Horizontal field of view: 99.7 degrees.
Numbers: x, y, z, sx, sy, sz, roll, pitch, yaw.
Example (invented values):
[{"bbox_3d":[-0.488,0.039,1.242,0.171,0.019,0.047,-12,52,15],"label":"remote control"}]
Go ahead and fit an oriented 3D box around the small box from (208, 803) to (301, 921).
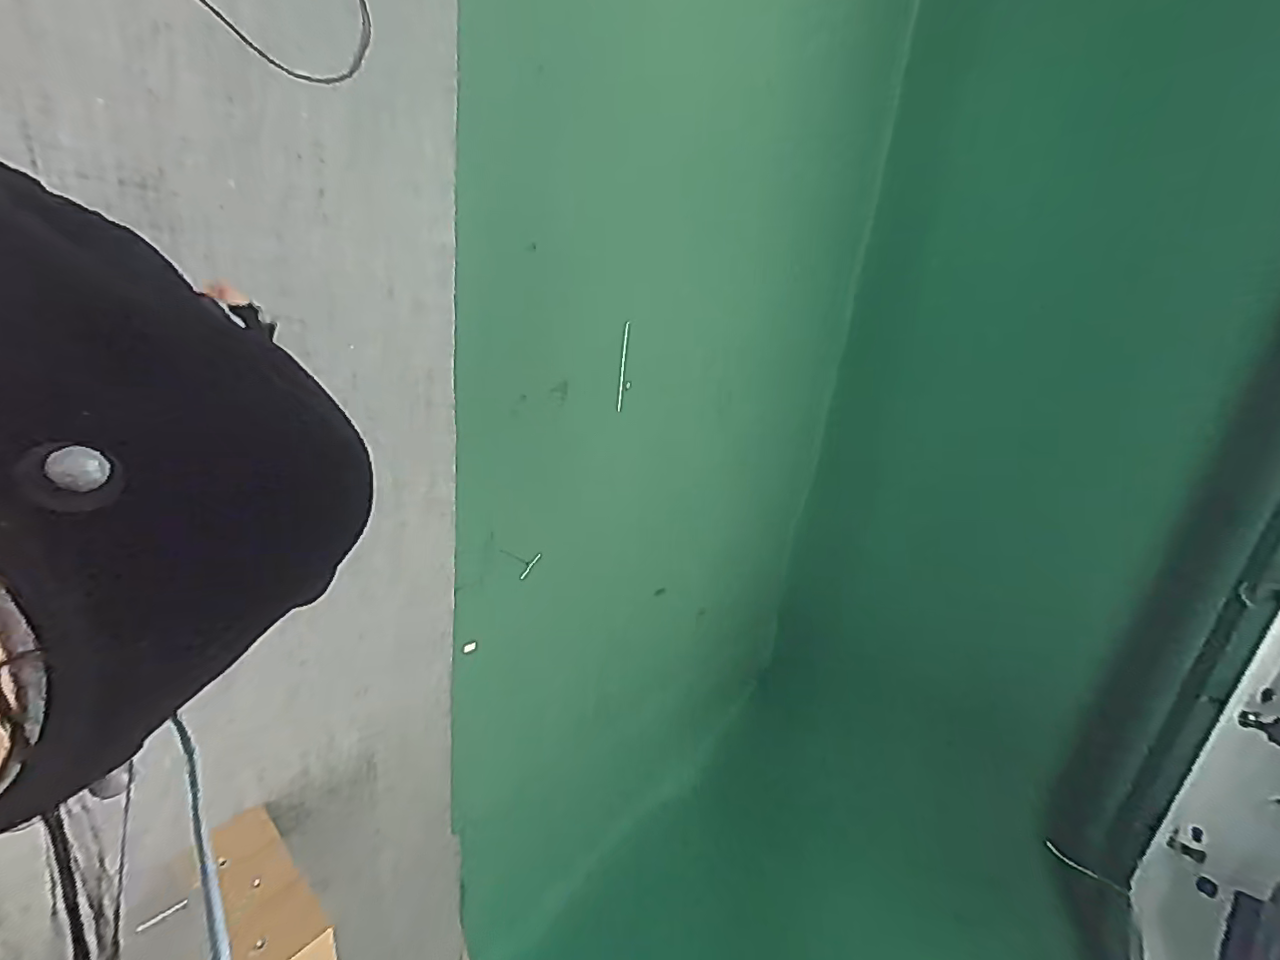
[{"bbox_3d":[-1.100,1.078,1.540,0.179,0.176,0.168,-16,119,-48],"label":"small box"}]
